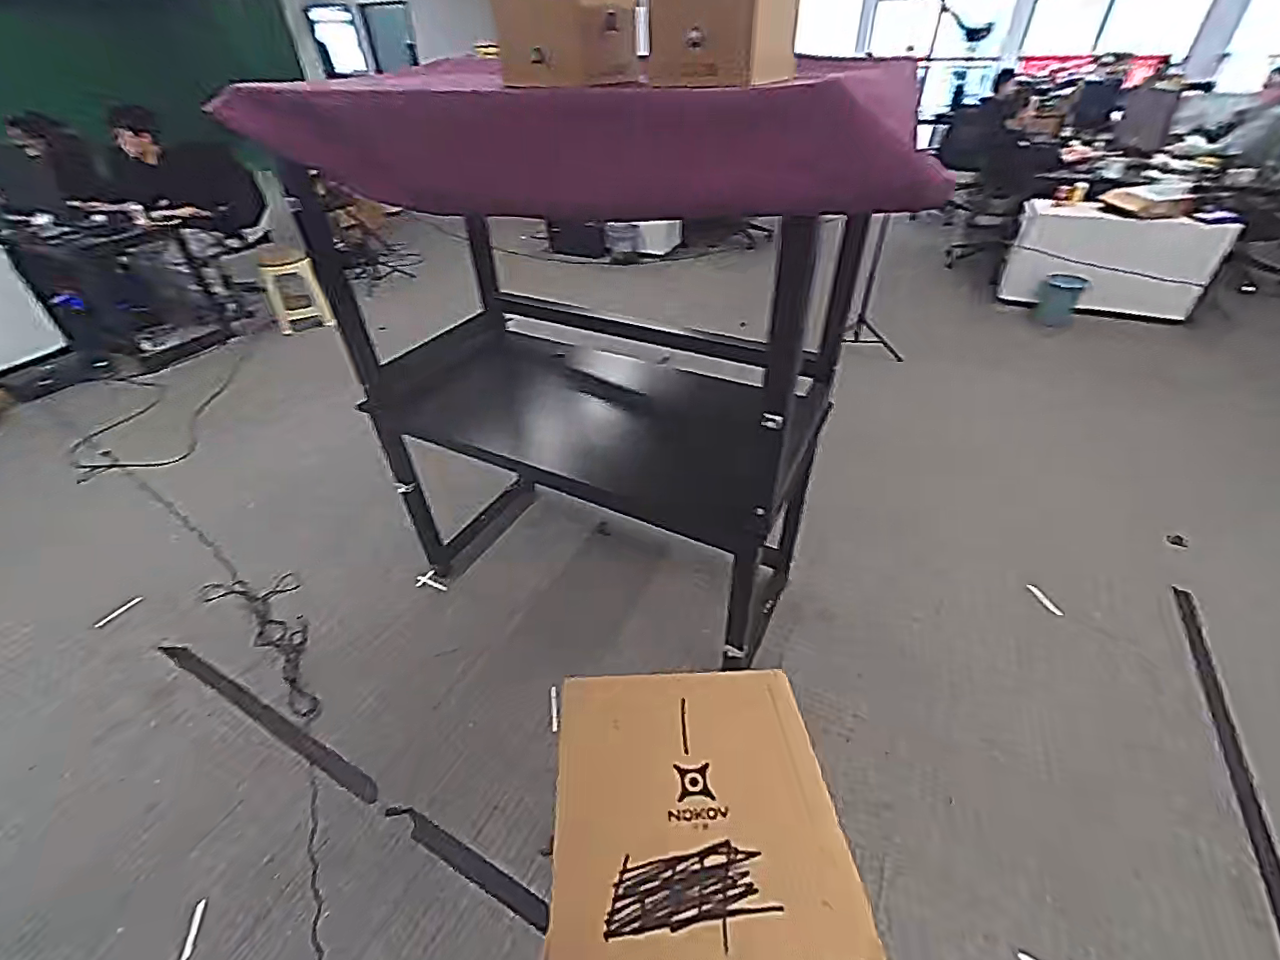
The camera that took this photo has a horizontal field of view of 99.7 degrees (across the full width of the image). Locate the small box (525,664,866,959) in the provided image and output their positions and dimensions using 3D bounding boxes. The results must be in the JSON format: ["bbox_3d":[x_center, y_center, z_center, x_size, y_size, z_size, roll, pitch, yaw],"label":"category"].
[{"bbox_3d":[0.020,0.252,0.361,0.168,0.176,0.179,-2,34,-5],"label":"small box"}]

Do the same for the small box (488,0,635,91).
[{"bbox_3d":[-0.119,-0.734,0.866,0.179,0.176,0.168,20,43,24],"label":"small box"}]

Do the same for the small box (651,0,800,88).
[{"bbox_3d":[0.121,-0.664,0.764,0.168,0.176,0.179,19,43,25],"label":"small box"}]
